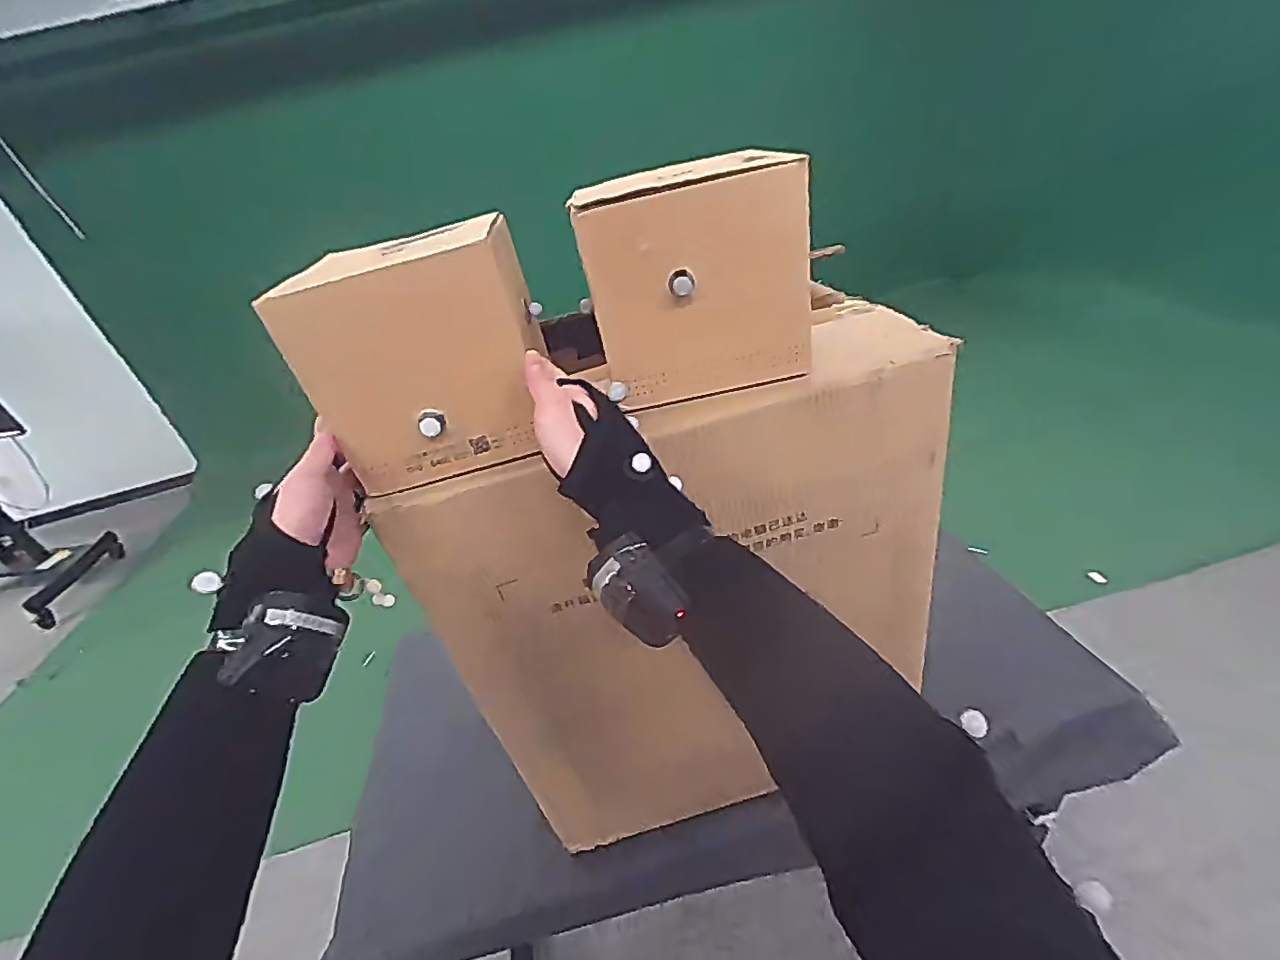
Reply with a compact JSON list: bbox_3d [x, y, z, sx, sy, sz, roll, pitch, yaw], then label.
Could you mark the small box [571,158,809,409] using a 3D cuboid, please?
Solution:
[{"bbox_3d":[0.044,-0.183,0.501,0.179,0.176,0.168,-13,33,2],"label":"small box"}]
